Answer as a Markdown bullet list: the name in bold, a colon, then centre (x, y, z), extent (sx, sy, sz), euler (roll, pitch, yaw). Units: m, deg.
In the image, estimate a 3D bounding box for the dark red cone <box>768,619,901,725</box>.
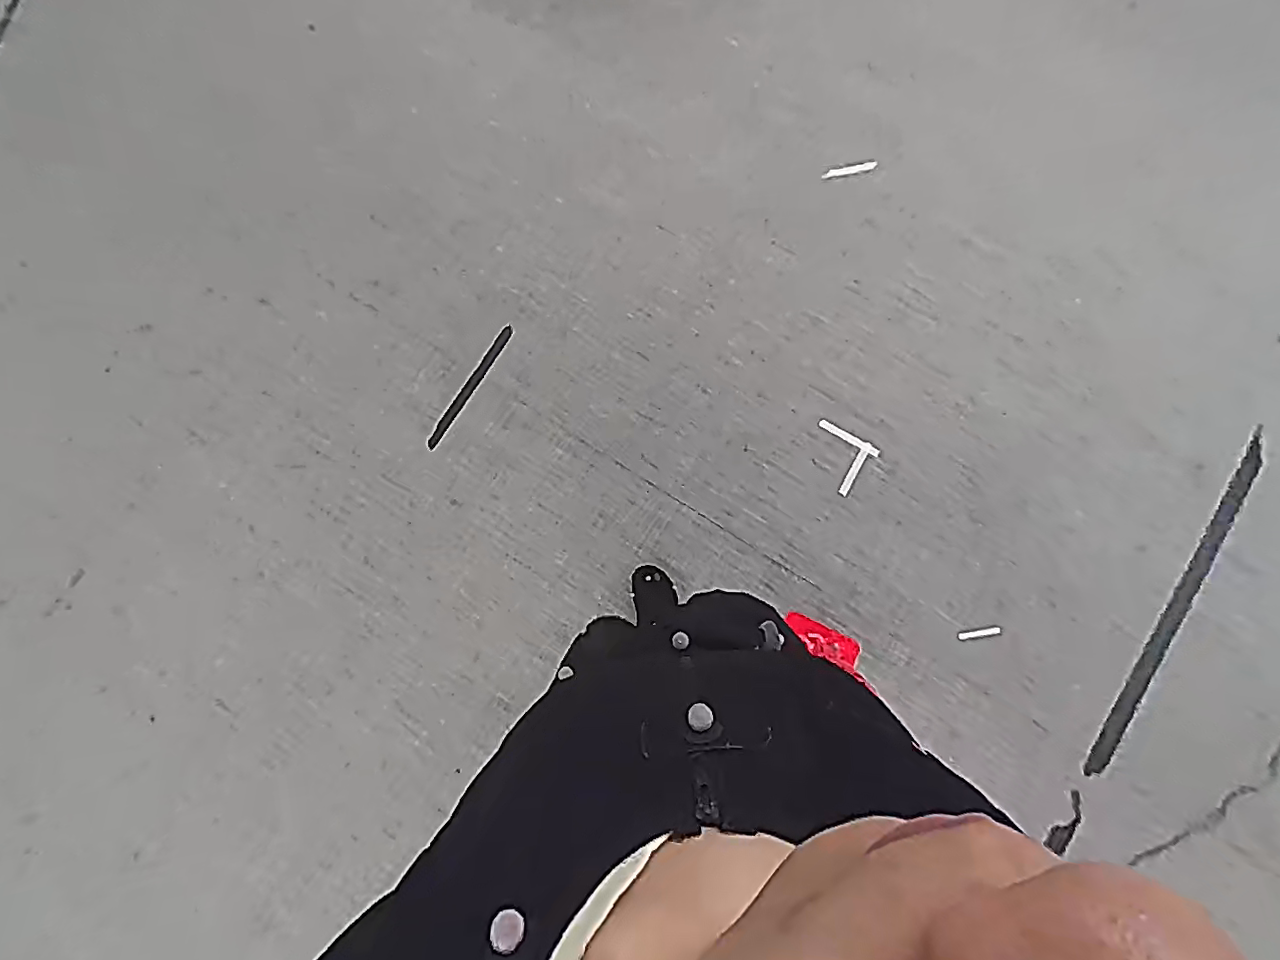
- **dark red cone**: centre (0.429, 0.430, 1.130), extent (0.201, 0.394, 0.202), euler (25, 82, 2)
